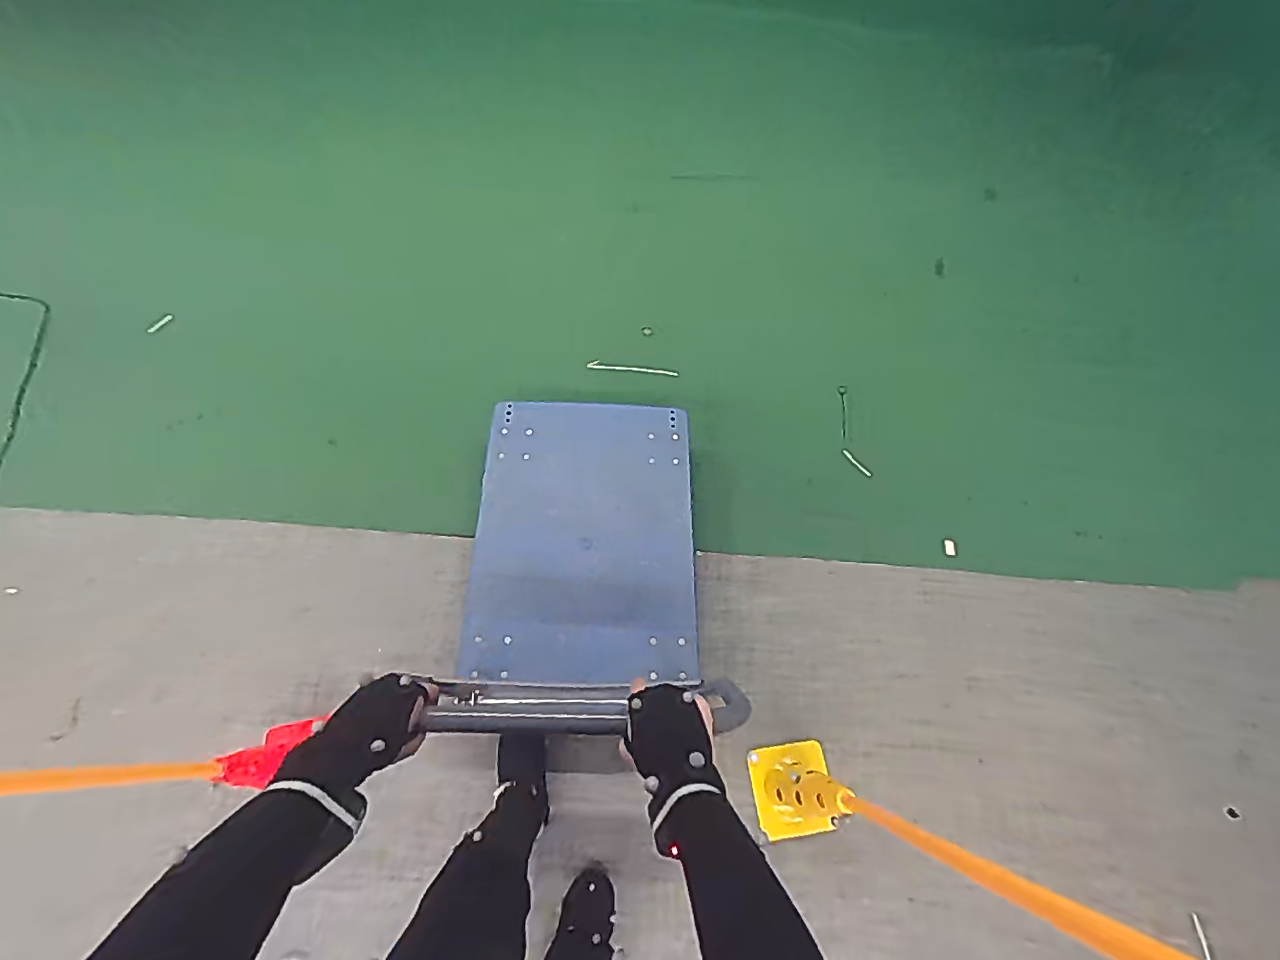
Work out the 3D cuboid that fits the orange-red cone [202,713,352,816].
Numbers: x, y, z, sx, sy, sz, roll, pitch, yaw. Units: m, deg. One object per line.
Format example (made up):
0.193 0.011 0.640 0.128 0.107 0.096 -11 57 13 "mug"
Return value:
-0.792 0.604 1.143 0.199 0.360 0.198 -10 65 -7 "orange-red cone"
